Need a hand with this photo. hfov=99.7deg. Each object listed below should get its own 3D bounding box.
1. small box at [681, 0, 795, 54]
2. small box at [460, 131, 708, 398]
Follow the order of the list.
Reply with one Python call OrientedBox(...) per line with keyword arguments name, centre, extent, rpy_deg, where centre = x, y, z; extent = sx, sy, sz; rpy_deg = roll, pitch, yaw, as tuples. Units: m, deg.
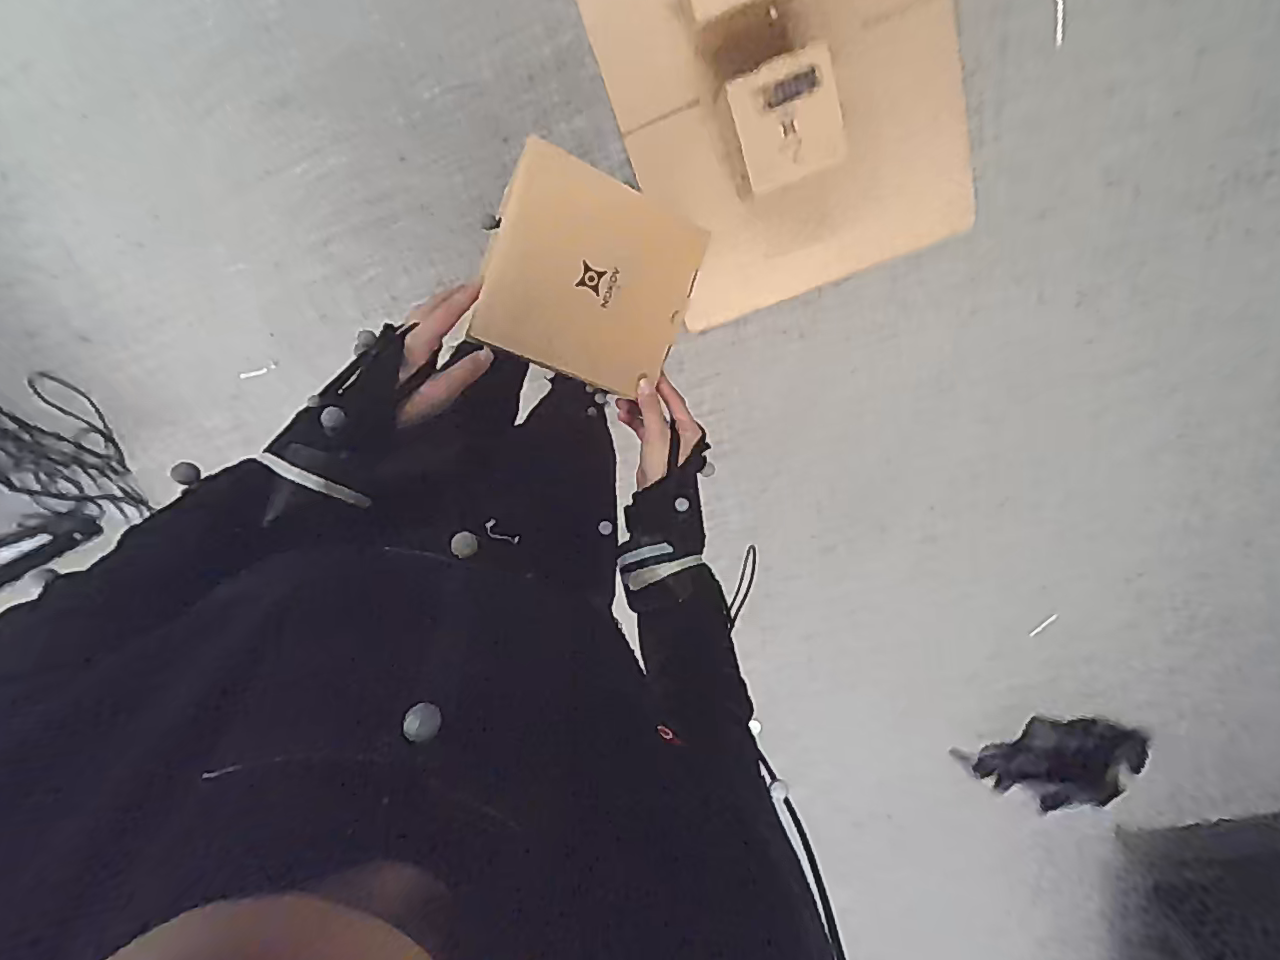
OrientedBox(name="small box", centre=(0.151, -0.825, 0.859), extent=(0.179, 0.176, 0.168), rpy_deg=(-17, 113, 11))
OrientedBox(name="small box", centre=(-0.068, -0.190, 0.530), extent=(0.179, 0.176, 0.168), rpy_deg=(16, 97, -24))
